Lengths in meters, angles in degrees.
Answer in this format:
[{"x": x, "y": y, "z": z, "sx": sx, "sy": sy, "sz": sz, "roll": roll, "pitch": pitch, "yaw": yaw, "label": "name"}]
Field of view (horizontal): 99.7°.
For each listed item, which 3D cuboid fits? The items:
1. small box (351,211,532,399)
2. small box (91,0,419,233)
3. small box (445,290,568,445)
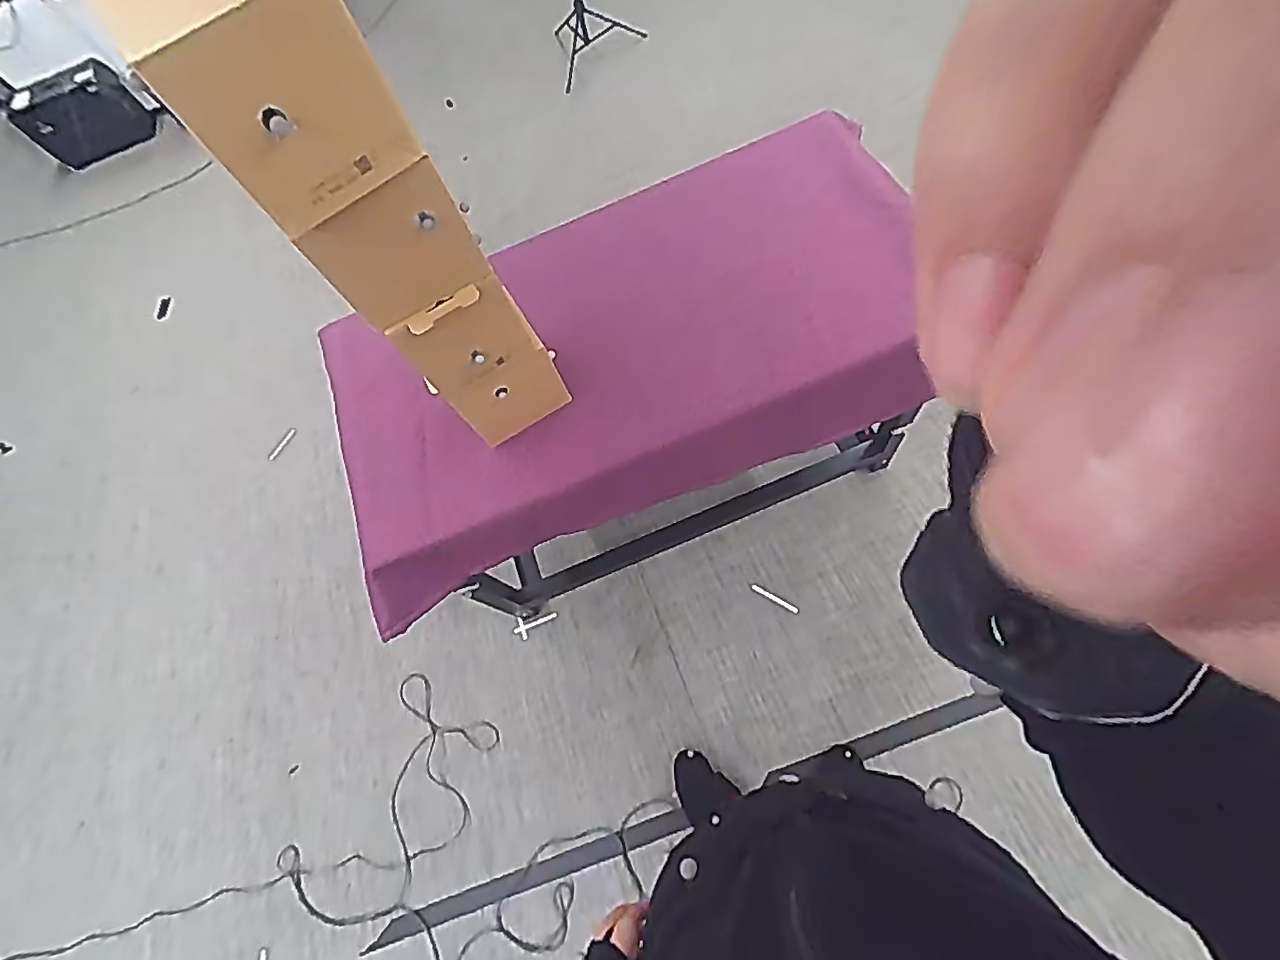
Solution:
[{"x": -0.292, "y": -0.257, "z": 0.820, "sx": 0.168, "sy": 0.176, "sz": 0.179, "roll": -33, "pitch": 65, "yaw": -4, "label": "small box"}, {"x": -0.350, "y": -0.373, "z": 0.518, "sx": 0.168, "sy": 0.176, "sz": 0.179, "roll": -39, "pitch": 65, "yaw": -8, "label": "small box"}, {"x": -0.254, "y": -0.192, "z": 0.967, "sx": 0.179, "sy": 0.176, "sz": 0.168, "roll": -32, "pitch": 65, "yaw": -5, "label": "small box"}]
